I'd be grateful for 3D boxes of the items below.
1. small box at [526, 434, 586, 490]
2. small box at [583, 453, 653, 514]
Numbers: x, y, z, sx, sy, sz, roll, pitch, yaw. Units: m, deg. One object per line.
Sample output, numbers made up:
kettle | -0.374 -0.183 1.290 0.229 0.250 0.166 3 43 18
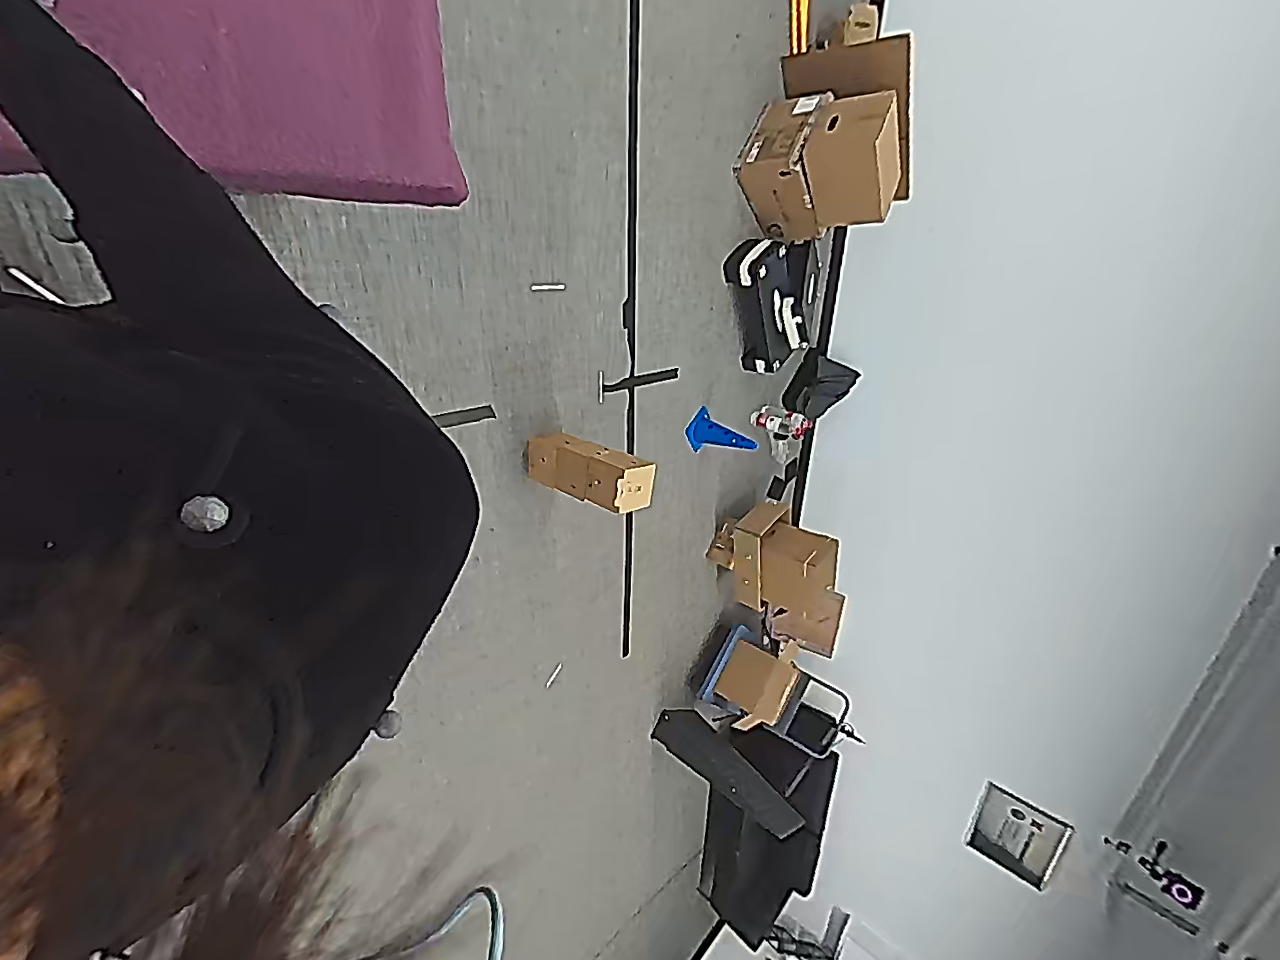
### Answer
small box | -0.336 -0.076 2.142 0.179 0.176 0.168 -18 120 -46
small box | -0.080 0.005 1.949 0.179 0.176 0.168 -11 115 -48
